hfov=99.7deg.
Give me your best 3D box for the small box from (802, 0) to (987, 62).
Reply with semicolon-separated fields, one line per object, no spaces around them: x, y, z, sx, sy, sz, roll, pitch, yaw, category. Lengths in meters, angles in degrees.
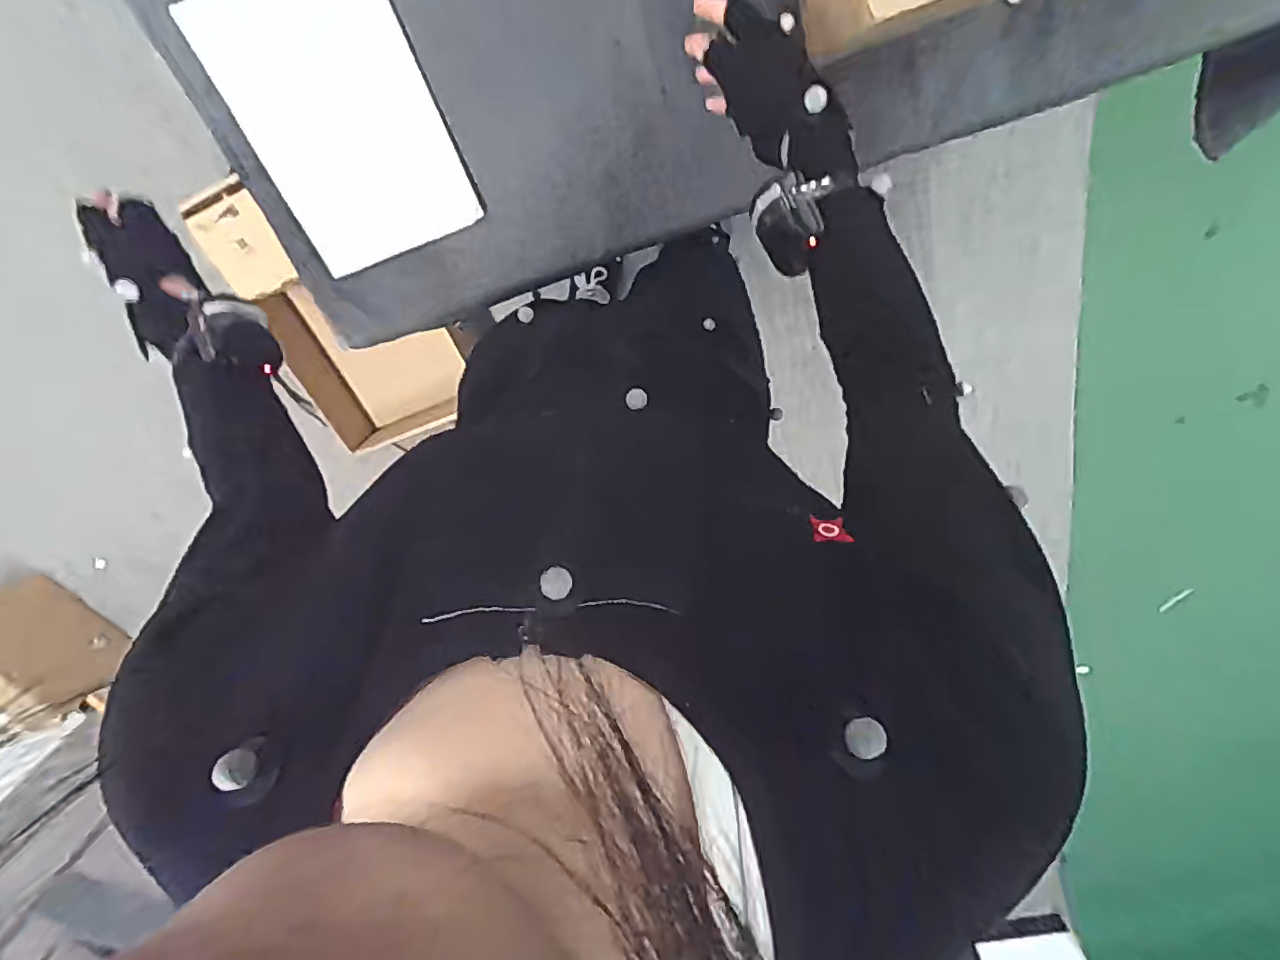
0.229;-0.467;0.422;0.179;0.176;0.168;-15;116;10;small box
